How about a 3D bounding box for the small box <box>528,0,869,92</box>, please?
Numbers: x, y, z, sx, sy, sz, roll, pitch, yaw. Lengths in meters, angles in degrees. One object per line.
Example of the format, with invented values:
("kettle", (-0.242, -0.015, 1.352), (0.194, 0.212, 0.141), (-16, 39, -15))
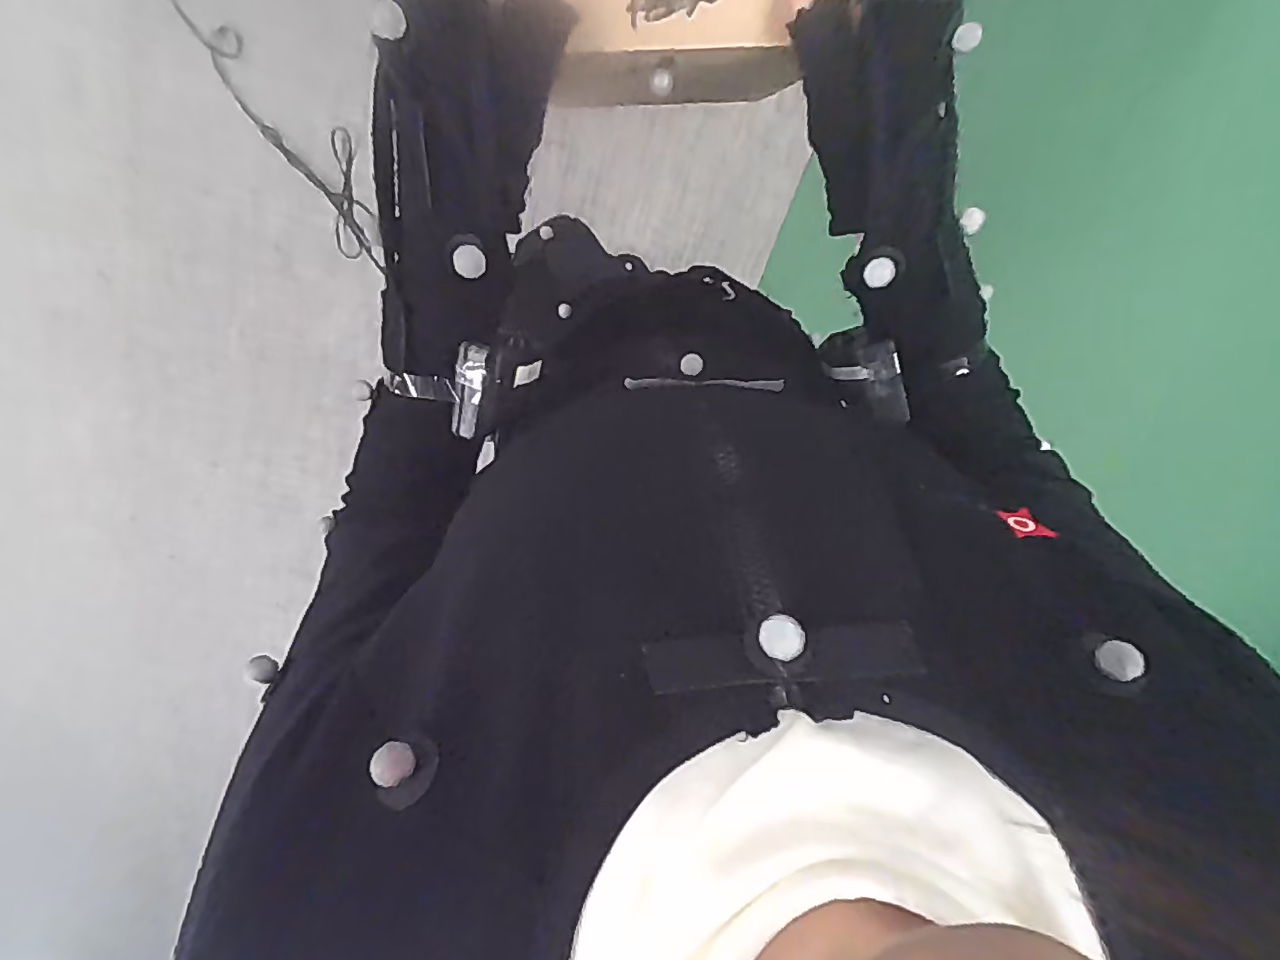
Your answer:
("small box", (0.019, -0.329, 0.289), (0.168, 0.176, 0.179), (-4, 118, -4))
